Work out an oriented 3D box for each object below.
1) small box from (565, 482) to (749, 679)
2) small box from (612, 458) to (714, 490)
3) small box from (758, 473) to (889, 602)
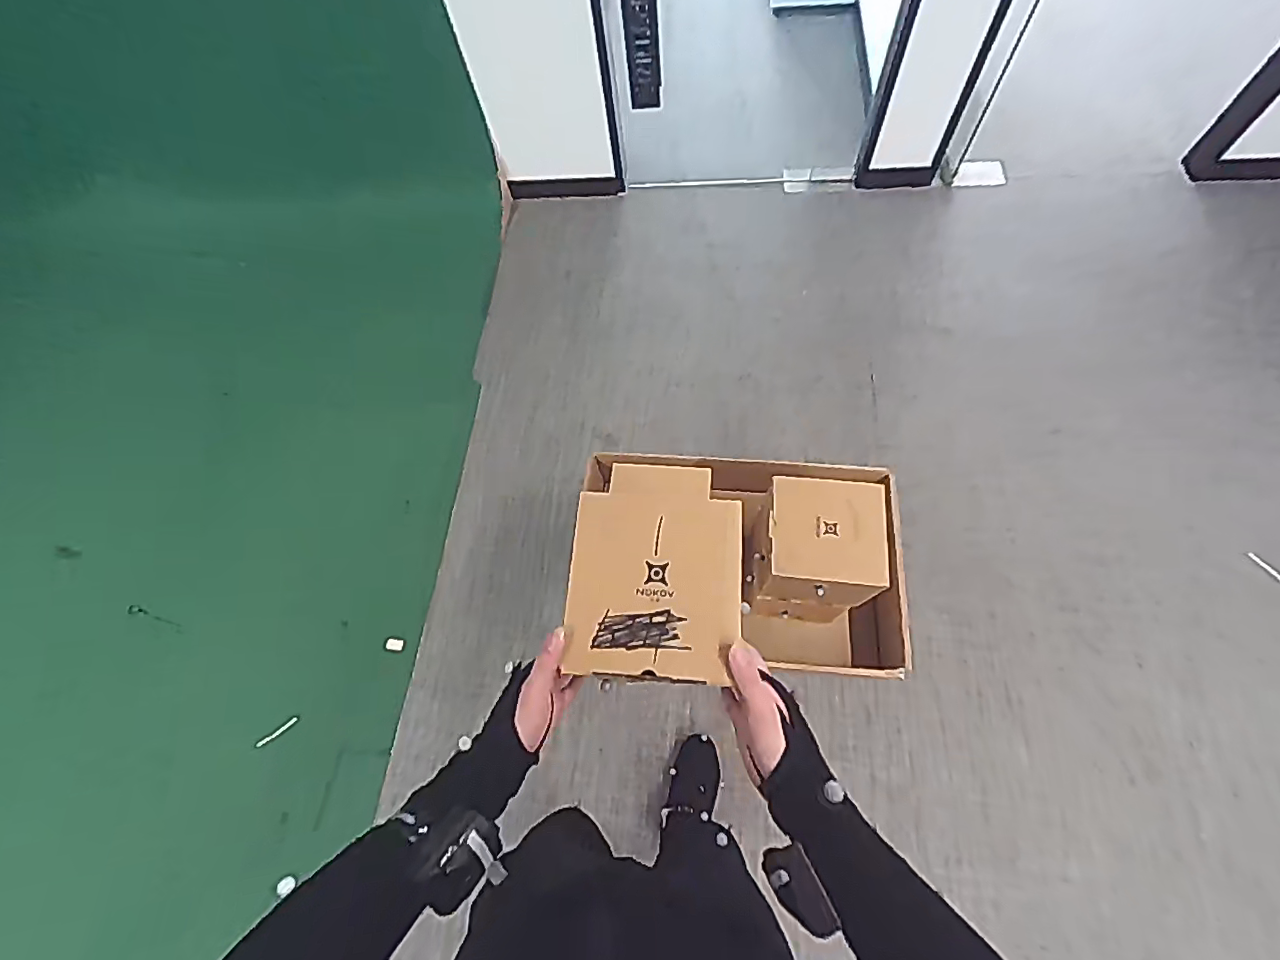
[{"bbox_3d":[0.023,0.117,0.584,0.168,0.176,0.179,4,68,3],"label":"small box"},{"bbox_3d":[0.035,0.082,0.927,0.168,0.176,0.179,4,66,7],"label":"small box"},{"bbox_3d":[0.295,0.102,0.900,0.179,0.176,0.168,6,68,6],"label":"small box"}]
